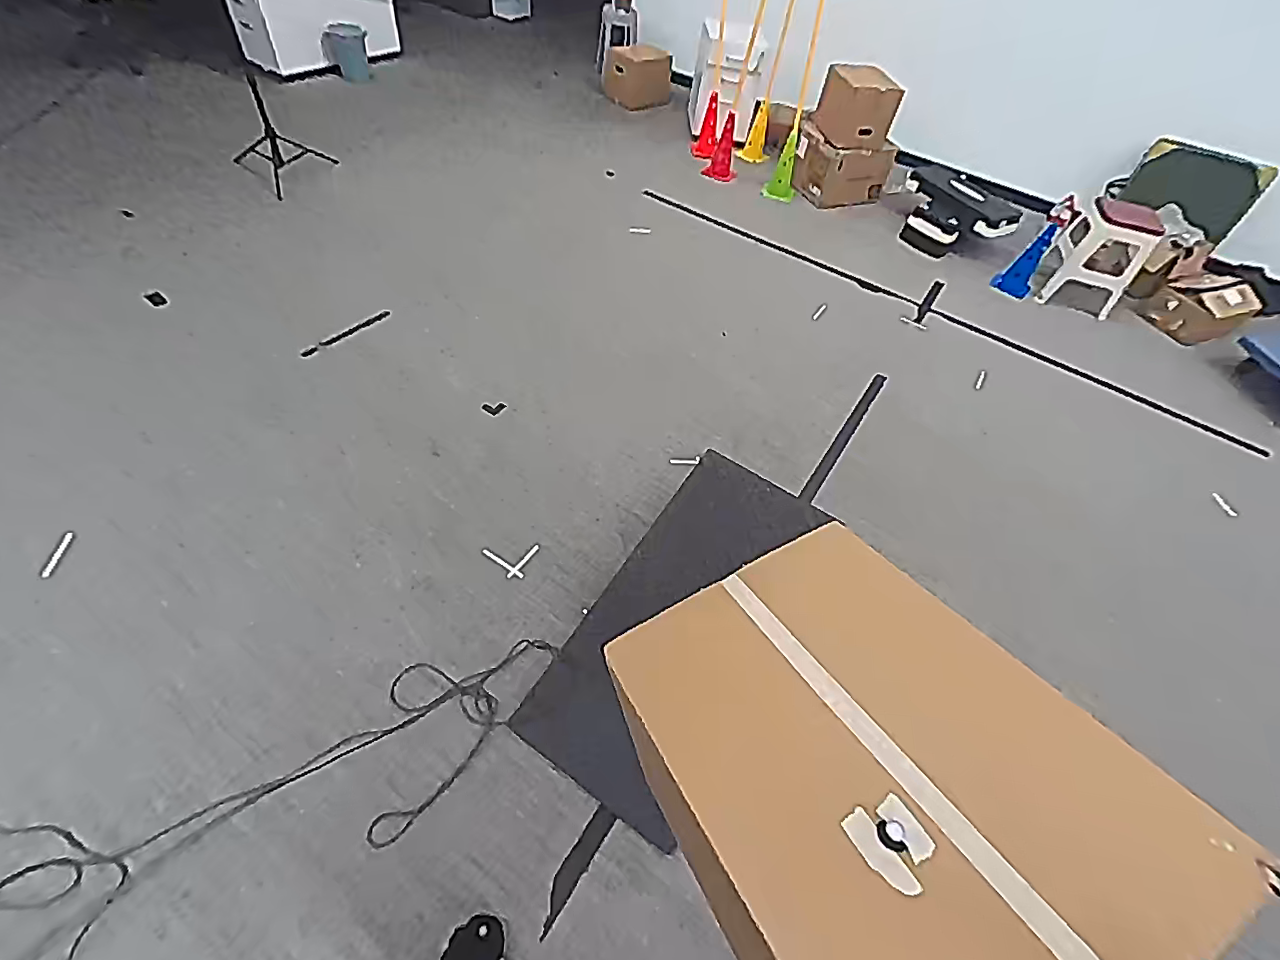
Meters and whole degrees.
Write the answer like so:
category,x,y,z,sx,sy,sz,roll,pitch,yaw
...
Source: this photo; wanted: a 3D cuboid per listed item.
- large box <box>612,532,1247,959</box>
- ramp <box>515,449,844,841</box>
category,x,y,z,sx,sy,sz,roll,pitch,yaw
large box,0.212,0.332,0.561,0.320,0.320,0.408,-25,41,-16
ramp,0.155,0.372,1.517,0.509,0.206,0.991,30,54,13
